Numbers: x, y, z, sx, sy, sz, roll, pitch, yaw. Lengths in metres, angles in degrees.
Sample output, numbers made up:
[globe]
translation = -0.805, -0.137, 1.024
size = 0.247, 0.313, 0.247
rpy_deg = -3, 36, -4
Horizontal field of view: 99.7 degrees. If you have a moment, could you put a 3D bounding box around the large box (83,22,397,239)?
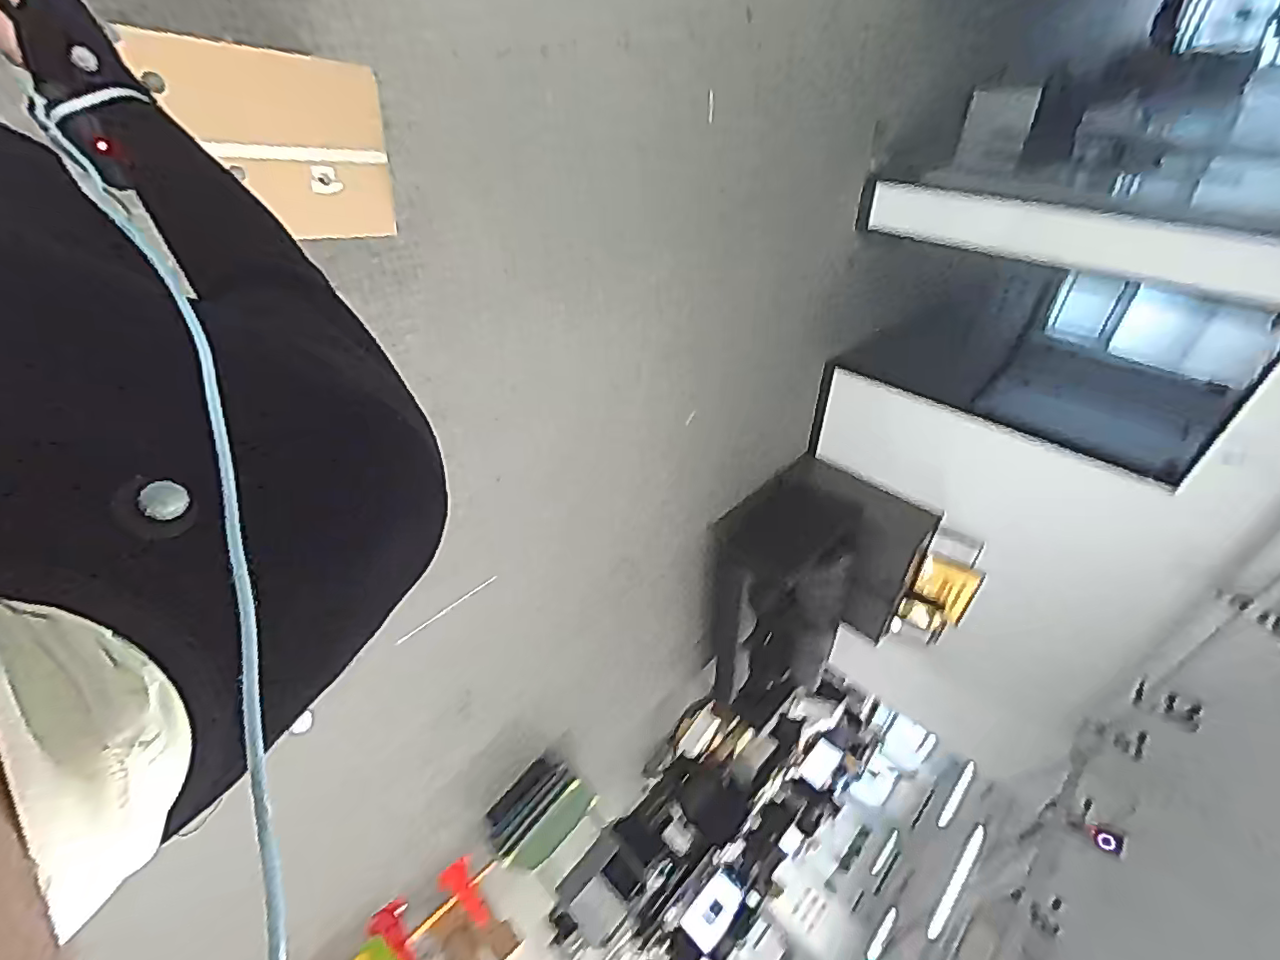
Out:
[large box]
translation = -0.783, -0.695, 1.102
size = 0.408, 0.320, 0.320
rpy_deg = -26, 135, -39
